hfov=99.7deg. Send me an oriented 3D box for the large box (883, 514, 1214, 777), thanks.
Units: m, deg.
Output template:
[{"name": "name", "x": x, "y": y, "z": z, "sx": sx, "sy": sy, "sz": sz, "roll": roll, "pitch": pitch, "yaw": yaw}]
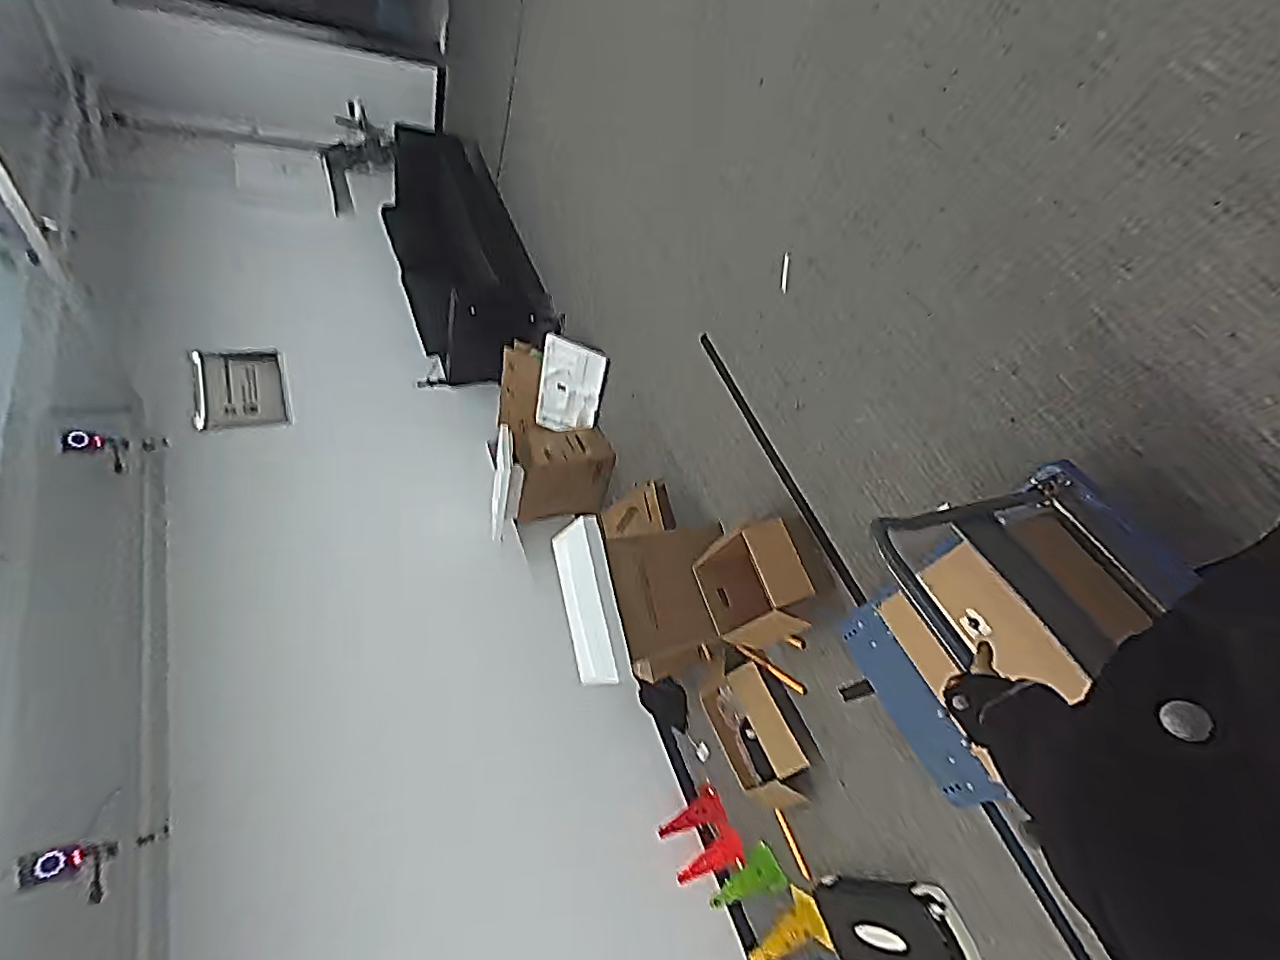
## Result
[{"name": "large box", "x": 0.829, "y": 0.336, "z": 1.149, "sx": 0.408, "sy": 0.320, "sz": 0.320, "roll": 63, "pitch": 147, "yaw": 31}]
